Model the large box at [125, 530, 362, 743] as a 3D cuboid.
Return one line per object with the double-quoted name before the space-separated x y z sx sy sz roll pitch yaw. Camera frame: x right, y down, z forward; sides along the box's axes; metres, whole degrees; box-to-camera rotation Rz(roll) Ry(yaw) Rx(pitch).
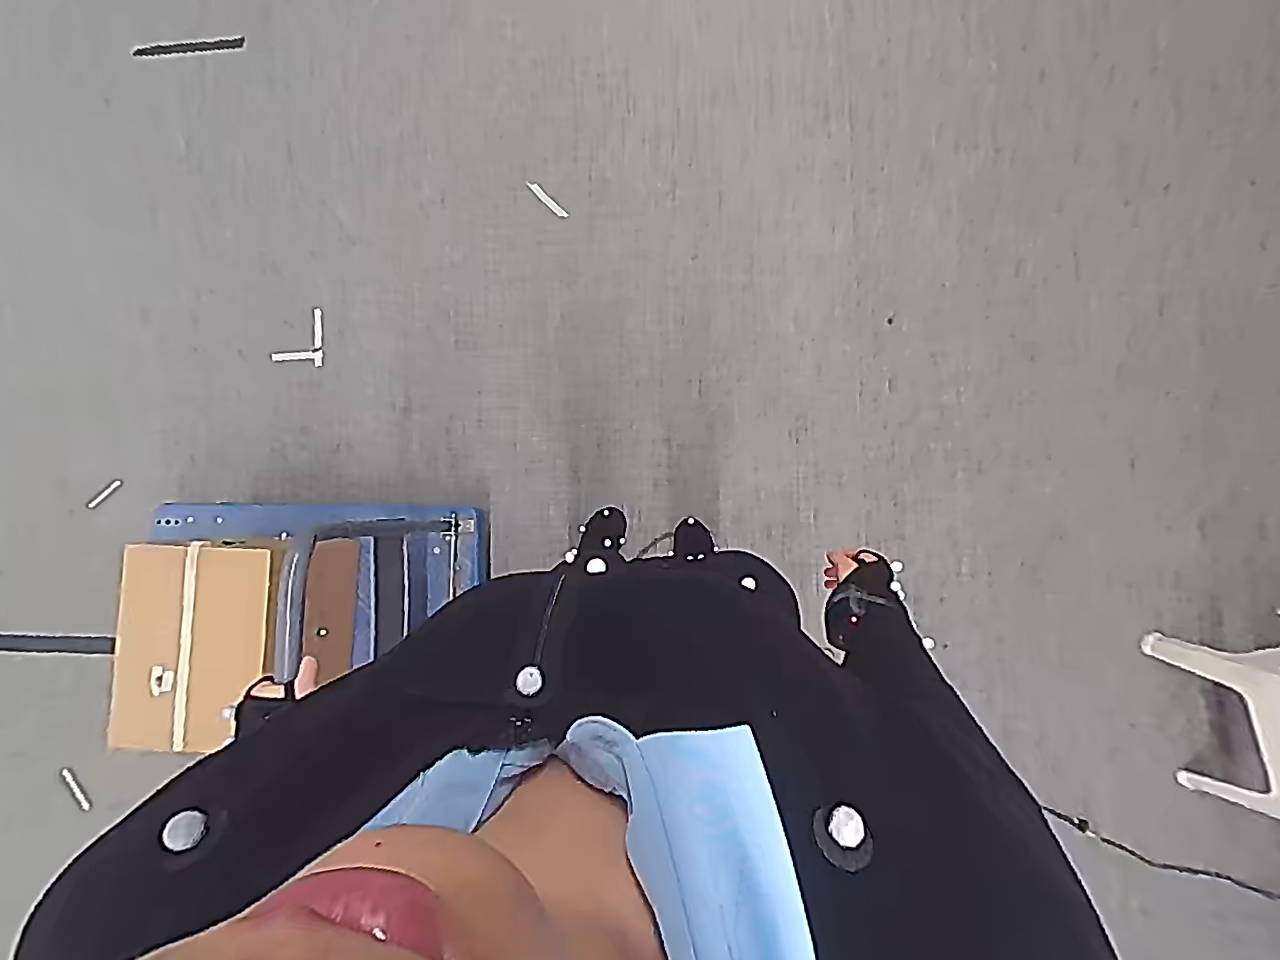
"large box" -0.870 0.322 1.231 0.320 0.320 0.408 2 88 5
